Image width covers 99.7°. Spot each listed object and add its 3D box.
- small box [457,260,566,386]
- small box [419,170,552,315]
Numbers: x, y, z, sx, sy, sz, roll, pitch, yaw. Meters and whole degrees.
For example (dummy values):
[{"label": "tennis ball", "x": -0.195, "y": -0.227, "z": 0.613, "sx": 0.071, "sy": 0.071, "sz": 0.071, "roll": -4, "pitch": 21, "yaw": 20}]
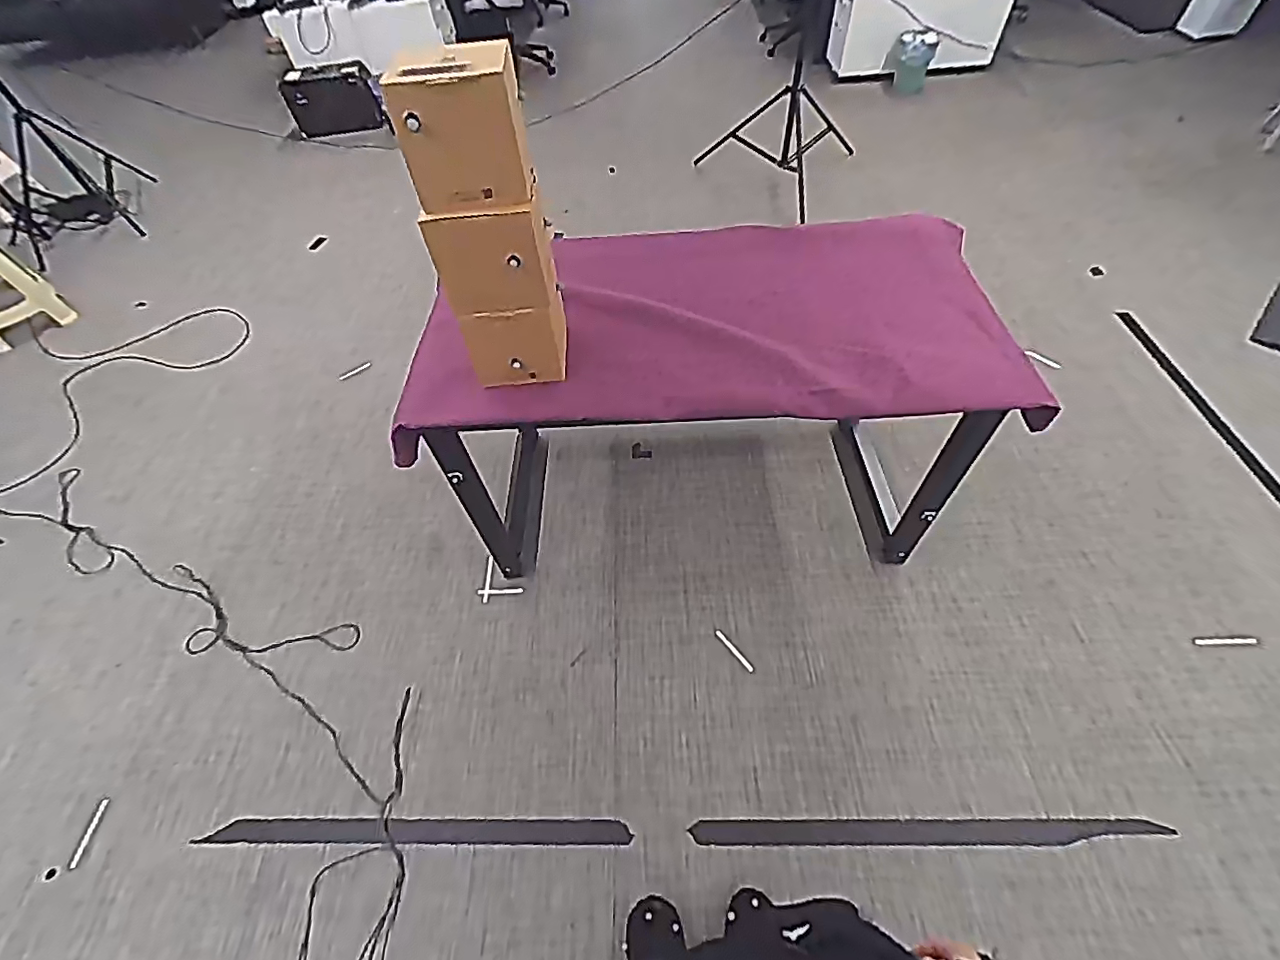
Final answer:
[{"label": "small box", "x": -0.242, "y": -0.309, "z": 1.065, "sx": 0.168, "sy": 0.176, "sz": 0.179, "roll": -5, "pitch": 53, "yaw": 1}, {"label": "small box", "x": -0.253, "y": -0.407, "z": 0.936, "sx": 0.179, "sy": 0.176, "sz": 0.168, "roll": -6, "pitch": 51, "yaw": 1}]
